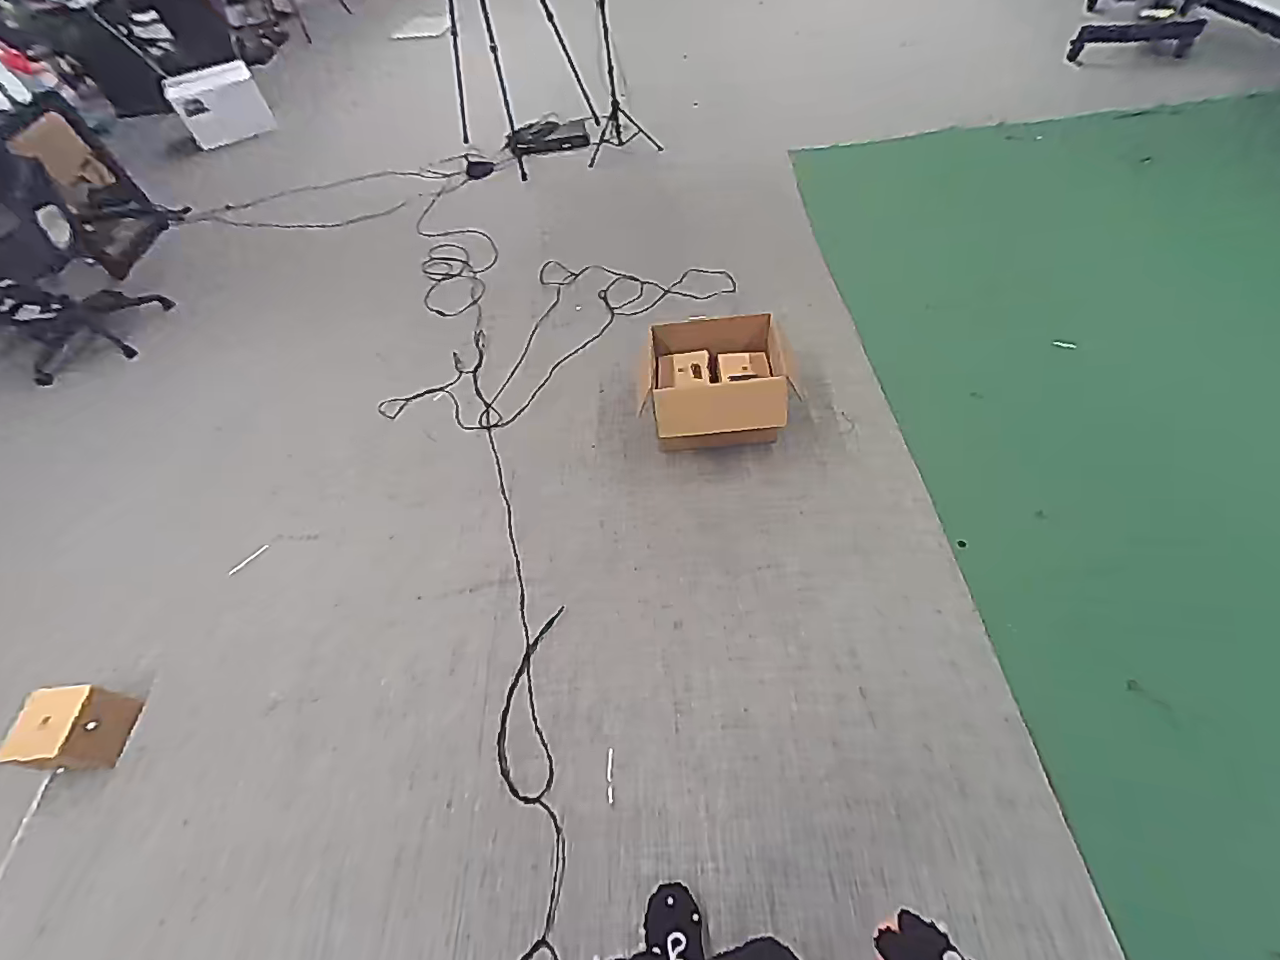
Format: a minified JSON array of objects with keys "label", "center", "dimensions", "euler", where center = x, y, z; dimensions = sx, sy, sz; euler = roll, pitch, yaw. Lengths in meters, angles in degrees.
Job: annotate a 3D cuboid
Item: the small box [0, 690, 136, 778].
[{"label":"small box","center":[-1.495,0.669,1.421],"dimensions":[0.168,0.176,0.179],"euler":[-6,55,2]}]
